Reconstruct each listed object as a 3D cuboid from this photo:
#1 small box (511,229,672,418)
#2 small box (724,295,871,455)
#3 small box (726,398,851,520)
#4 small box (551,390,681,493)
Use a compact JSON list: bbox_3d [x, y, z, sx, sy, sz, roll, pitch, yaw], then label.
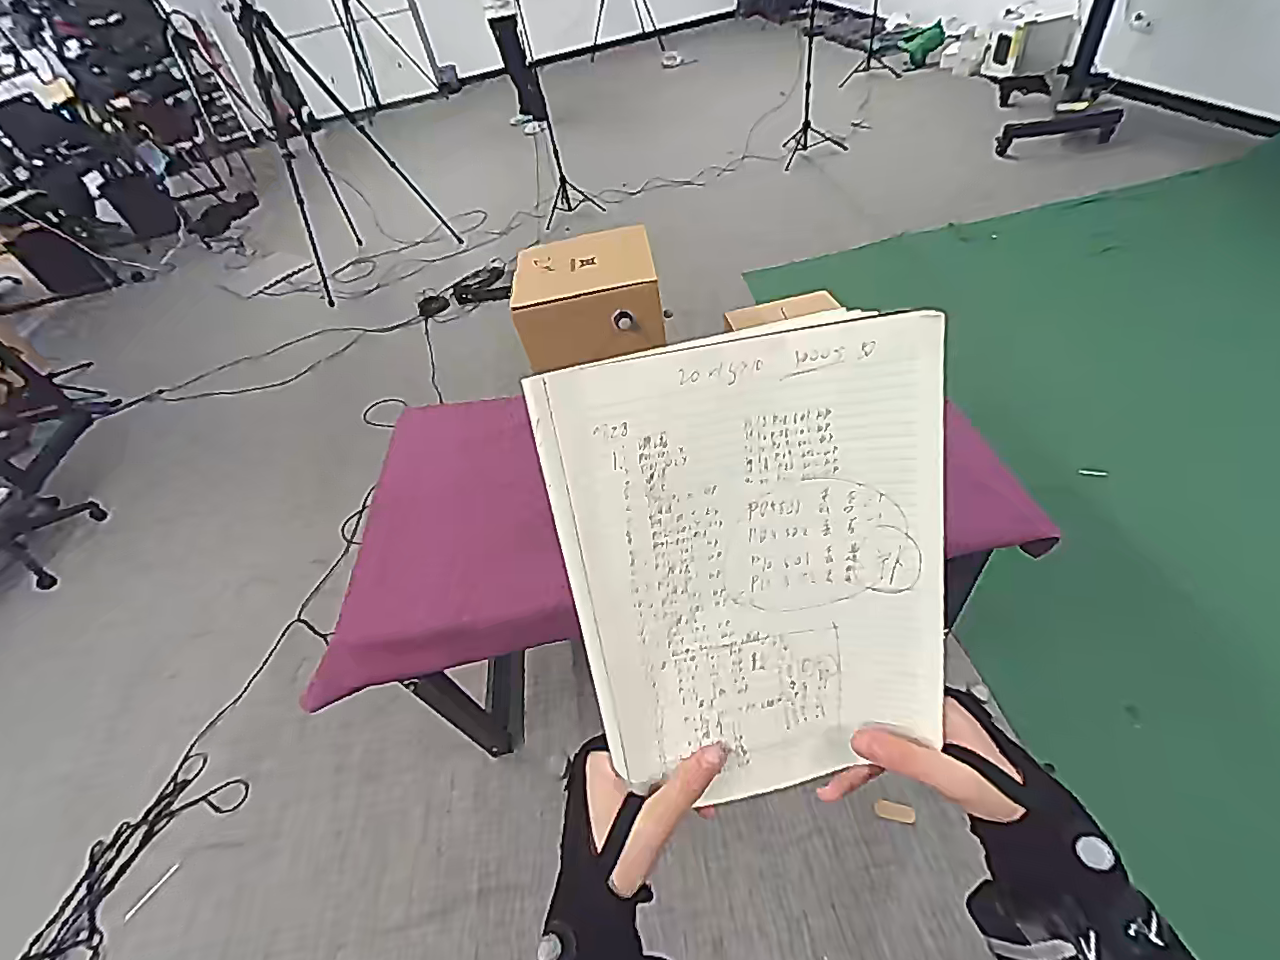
[{"bbox_3d":[-0.055,-0.206,0.722,0.179,0.176,0.168,-10,45,4],"label":"small box"},{"bbox_3d":[0.234,-0.155,0.839,0.168,0.176,0.179,-12,45,1],"label":"small box"},{"bbox_3d":[0.256,-0.046,0.959,0.168,0.176,0.179,-11,45,2],"label":"small box"},{"bbox_3d":[-0.036,-0.096,0.845,0.168,0.176,0.179,-12,45,2],"label":"small box"}]
